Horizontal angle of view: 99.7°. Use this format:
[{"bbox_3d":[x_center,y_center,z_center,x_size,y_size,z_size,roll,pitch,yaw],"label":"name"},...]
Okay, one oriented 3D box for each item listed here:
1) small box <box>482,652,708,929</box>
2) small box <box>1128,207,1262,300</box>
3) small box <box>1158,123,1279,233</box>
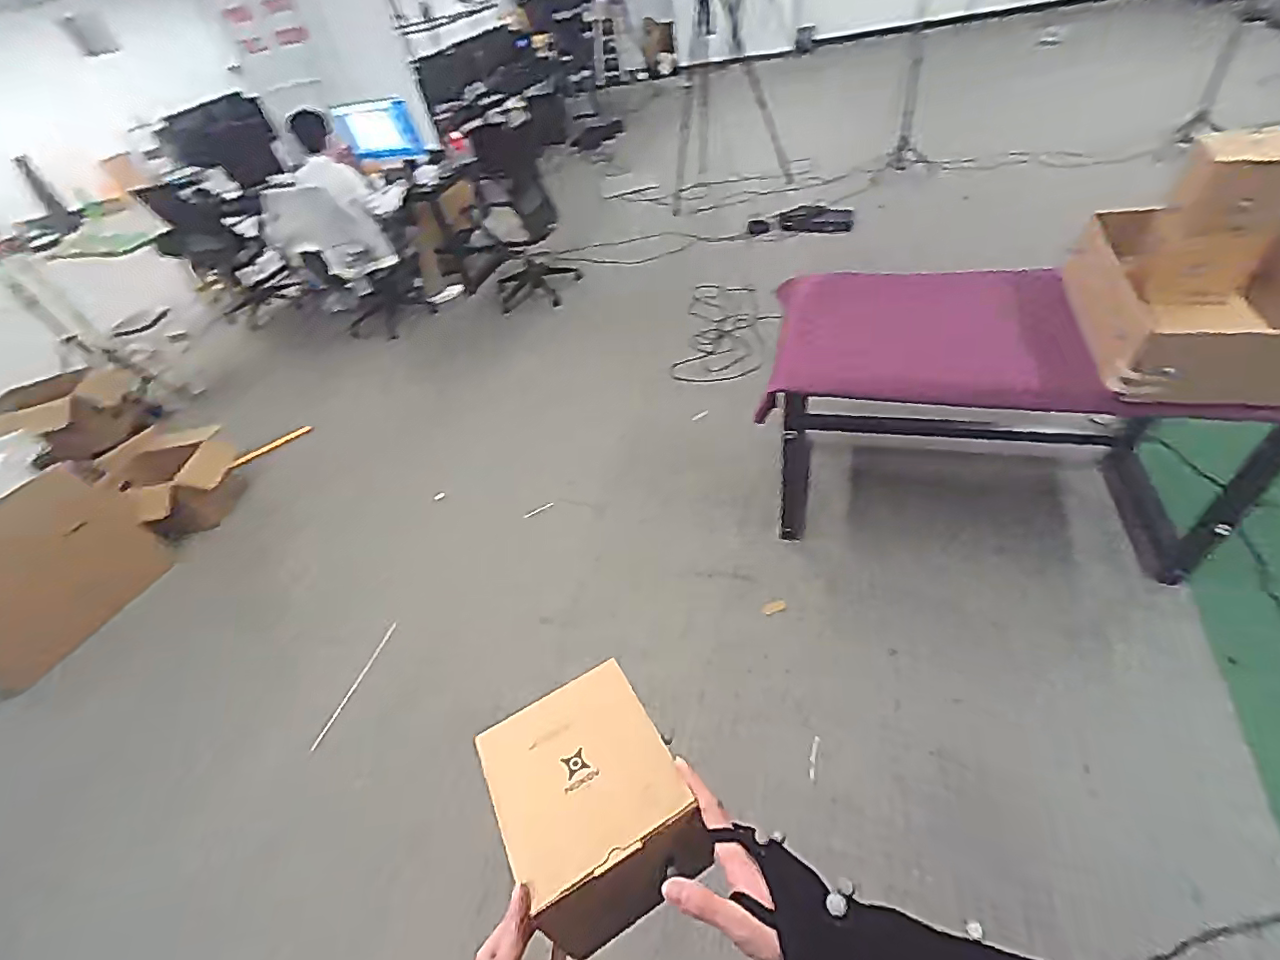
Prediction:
[{"bbox_3d":[-0.043,0.326,0.568,0.168,0.176,0.179,-25,40,-15],"label":"small box"},{"bbox_3d":[1.360,-0.563,1.340,0.168,0.176,0.179,7,49,22],"label":"small box"},{"bbox_3d":[1.330,-0.676,1.225,0.168,0.176,0.179,8,50,22],"label":"small box"}]
